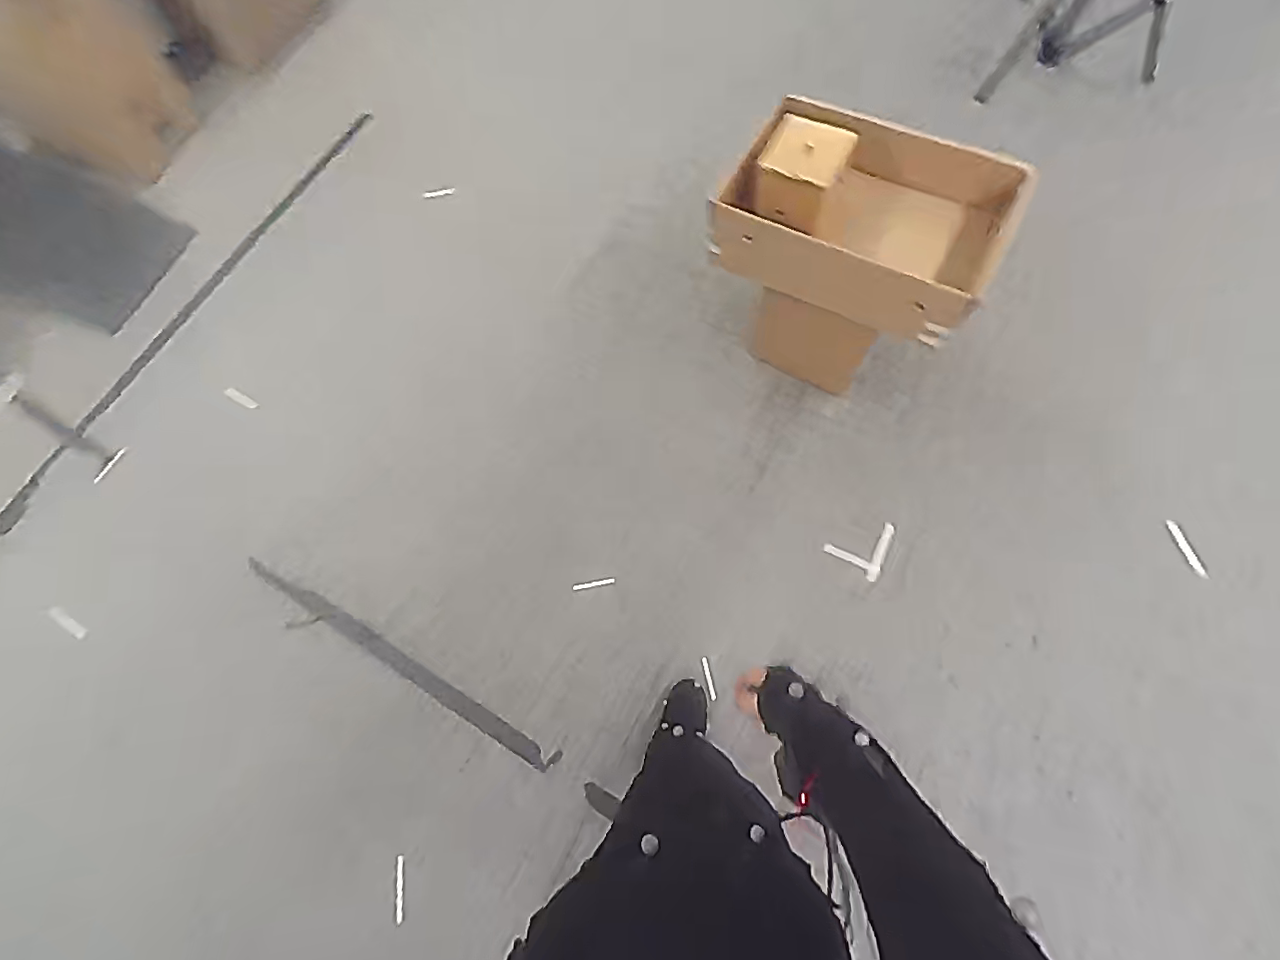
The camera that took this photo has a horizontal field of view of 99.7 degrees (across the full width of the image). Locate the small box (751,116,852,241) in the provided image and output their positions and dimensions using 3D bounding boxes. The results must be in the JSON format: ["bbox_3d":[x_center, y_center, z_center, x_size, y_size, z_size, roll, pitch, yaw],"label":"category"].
[{"bbox_3d":[0.377,-0.716,1.294,0.168,0.176,0.179,25,75,14],"label":"small box"}]
